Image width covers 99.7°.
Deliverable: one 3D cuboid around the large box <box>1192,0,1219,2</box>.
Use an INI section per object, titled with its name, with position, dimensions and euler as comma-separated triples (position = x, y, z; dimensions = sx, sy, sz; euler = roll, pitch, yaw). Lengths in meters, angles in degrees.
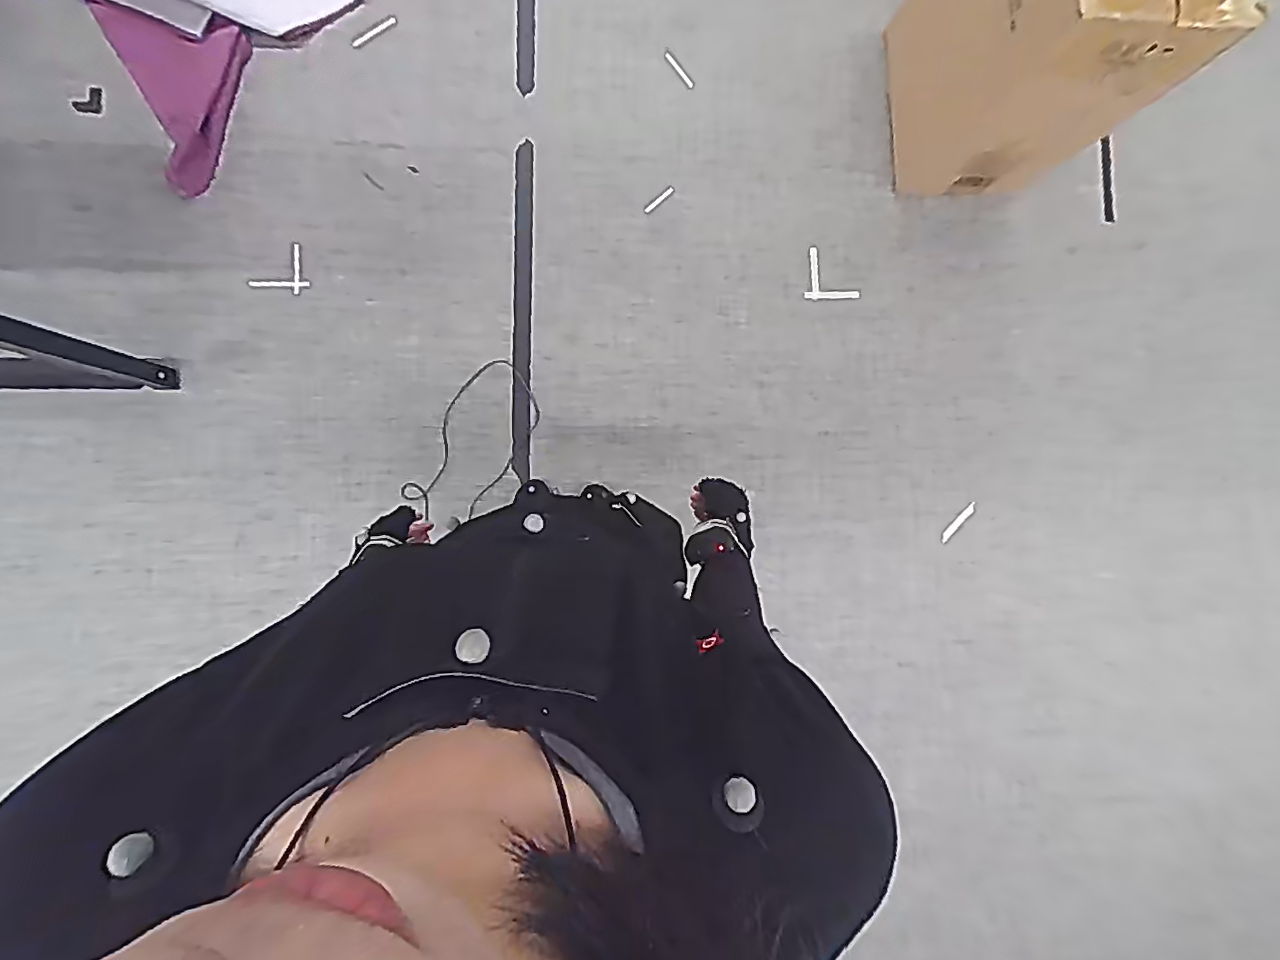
[large box]
position = 1.029, -1.155, 0.927
dimensions = 0.320, 0.320, 0.408
euler = -3, 89, -6
